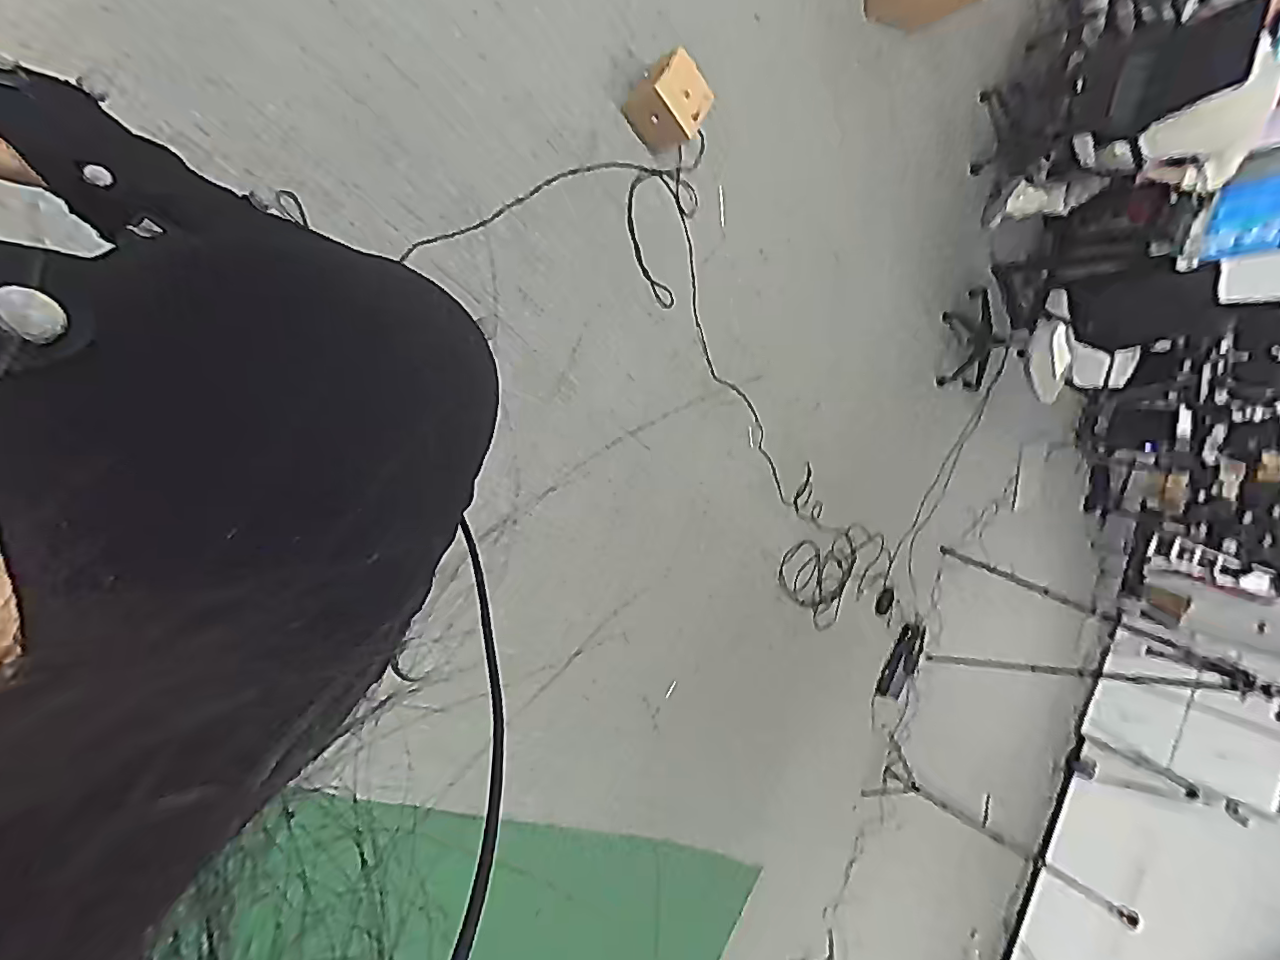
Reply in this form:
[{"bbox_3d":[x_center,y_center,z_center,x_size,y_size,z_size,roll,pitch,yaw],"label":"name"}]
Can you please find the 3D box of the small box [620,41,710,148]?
[{"bbox_3d":[0.072,-1.150,1.630,0.179,0.176,0.168,35,78,-37],"label":"small box"}]
